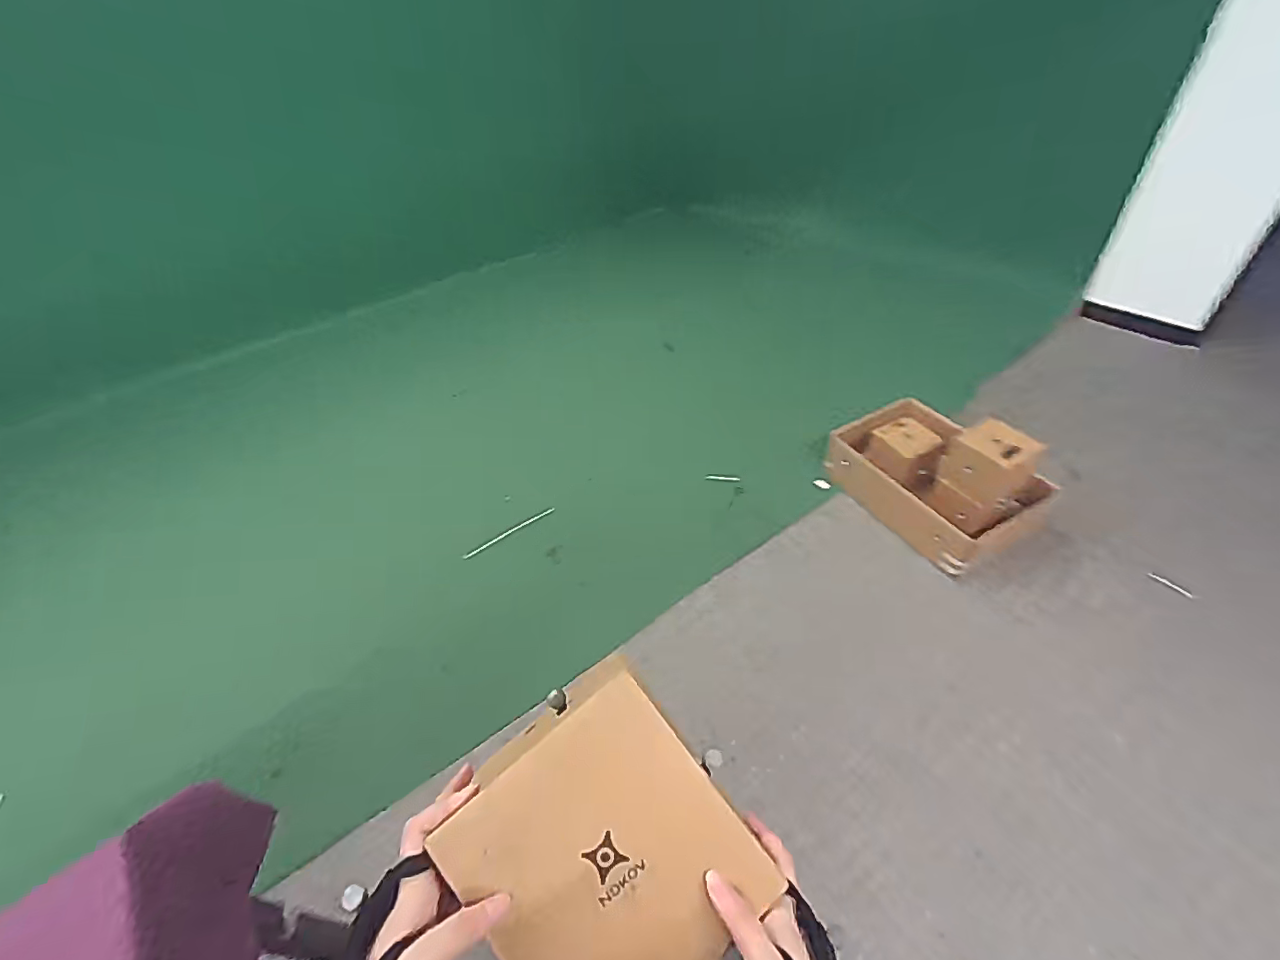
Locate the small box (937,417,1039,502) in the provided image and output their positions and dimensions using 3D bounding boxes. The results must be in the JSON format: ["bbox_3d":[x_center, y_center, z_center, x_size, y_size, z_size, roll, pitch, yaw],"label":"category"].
[{"bbox_3d":[1.047,-0.055,1.642,0.168,0.176,0.179,-25,46,-16],"label":"small box"}]
